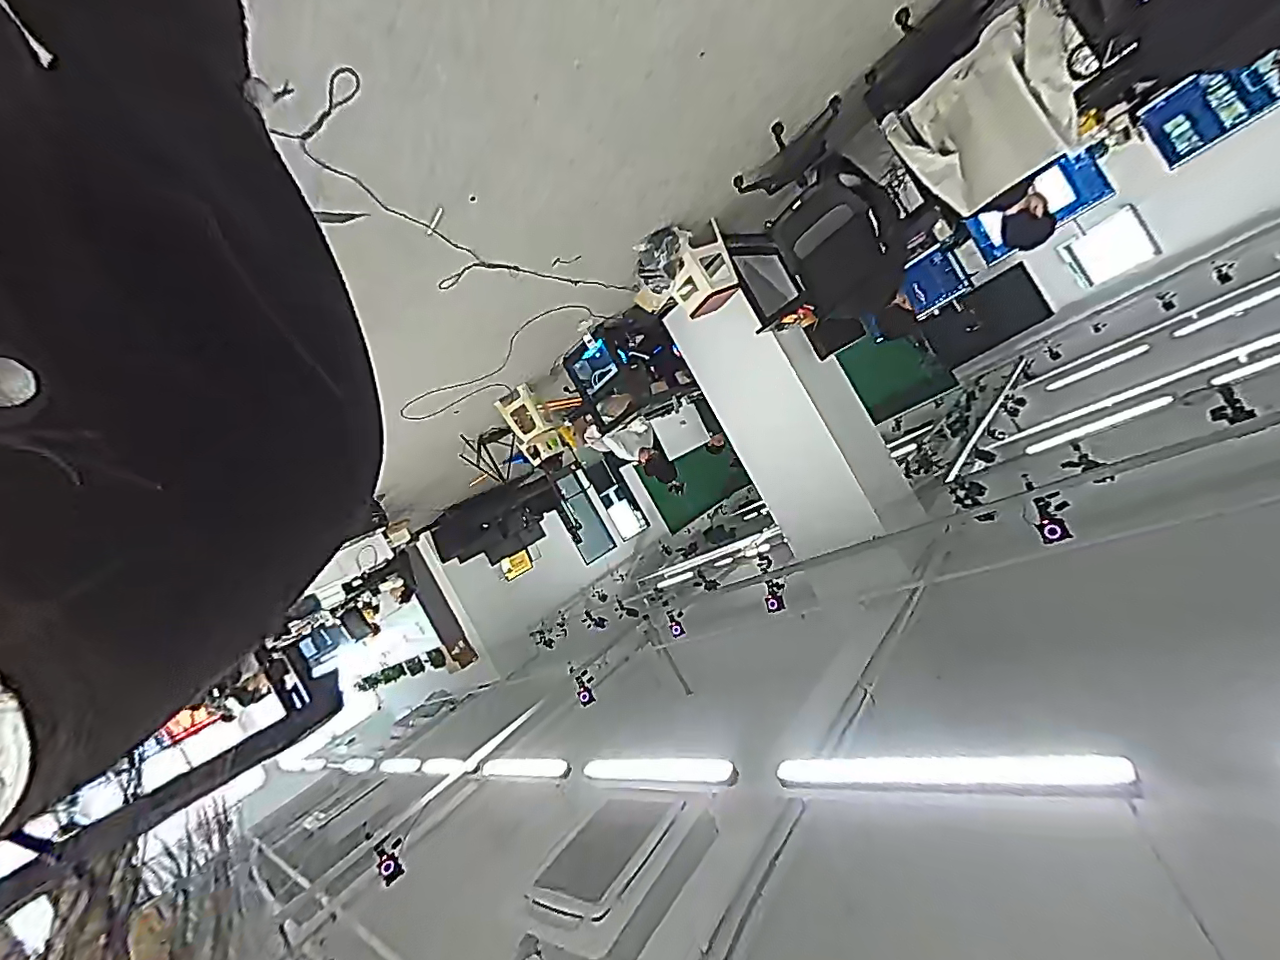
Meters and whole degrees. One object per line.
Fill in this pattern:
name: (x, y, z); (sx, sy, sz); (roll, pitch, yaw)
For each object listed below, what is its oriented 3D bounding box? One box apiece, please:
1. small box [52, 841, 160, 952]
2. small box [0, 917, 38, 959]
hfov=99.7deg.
small box: (-1.453, 1.122, 1.473); (0.179, 0.176, 0.168); (-30, 178, 41)
small box: (-1.593, 1.198, 1.297); (0.179, 0.176, 0.168); (-30, 180, 43)
